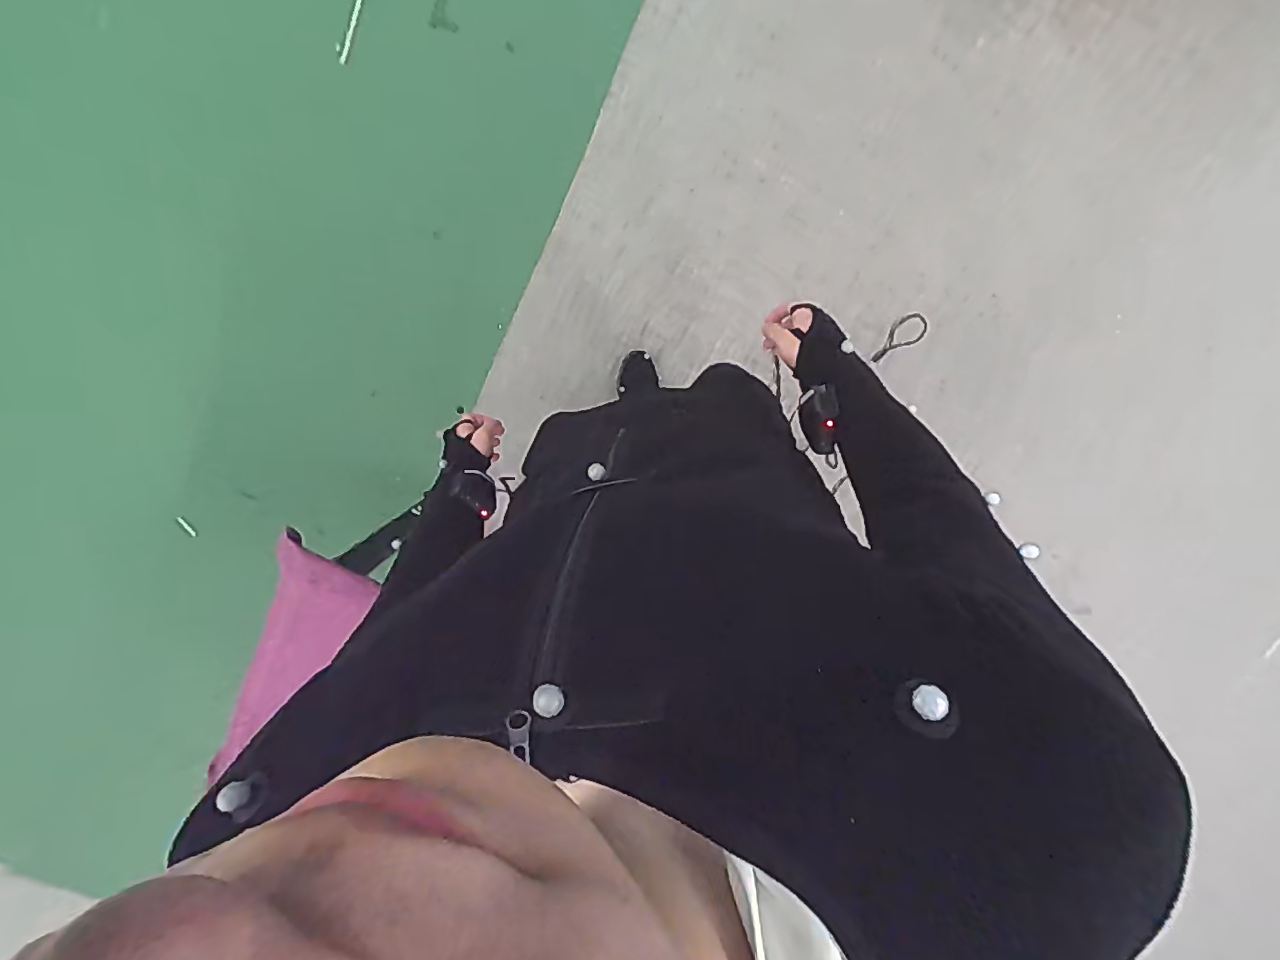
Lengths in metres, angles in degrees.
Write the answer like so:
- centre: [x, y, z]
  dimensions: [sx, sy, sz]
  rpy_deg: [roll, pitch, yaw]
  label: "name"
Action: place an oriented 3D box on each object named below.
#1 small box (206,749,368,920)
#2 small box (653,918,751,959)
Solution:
- centre: [-0.637, 0.642, 0.998]
  dimensions: [0.168, 0.176, 0.179]
  rpy_deg: [26, 103, -4]
  label: "small box"
- centre: [0.118, 1.008, 1.047]
  dimensions: [0.168, 0.176, 0.179]
  rpy_deg: [24, 105, -2]
  label: "small box"
